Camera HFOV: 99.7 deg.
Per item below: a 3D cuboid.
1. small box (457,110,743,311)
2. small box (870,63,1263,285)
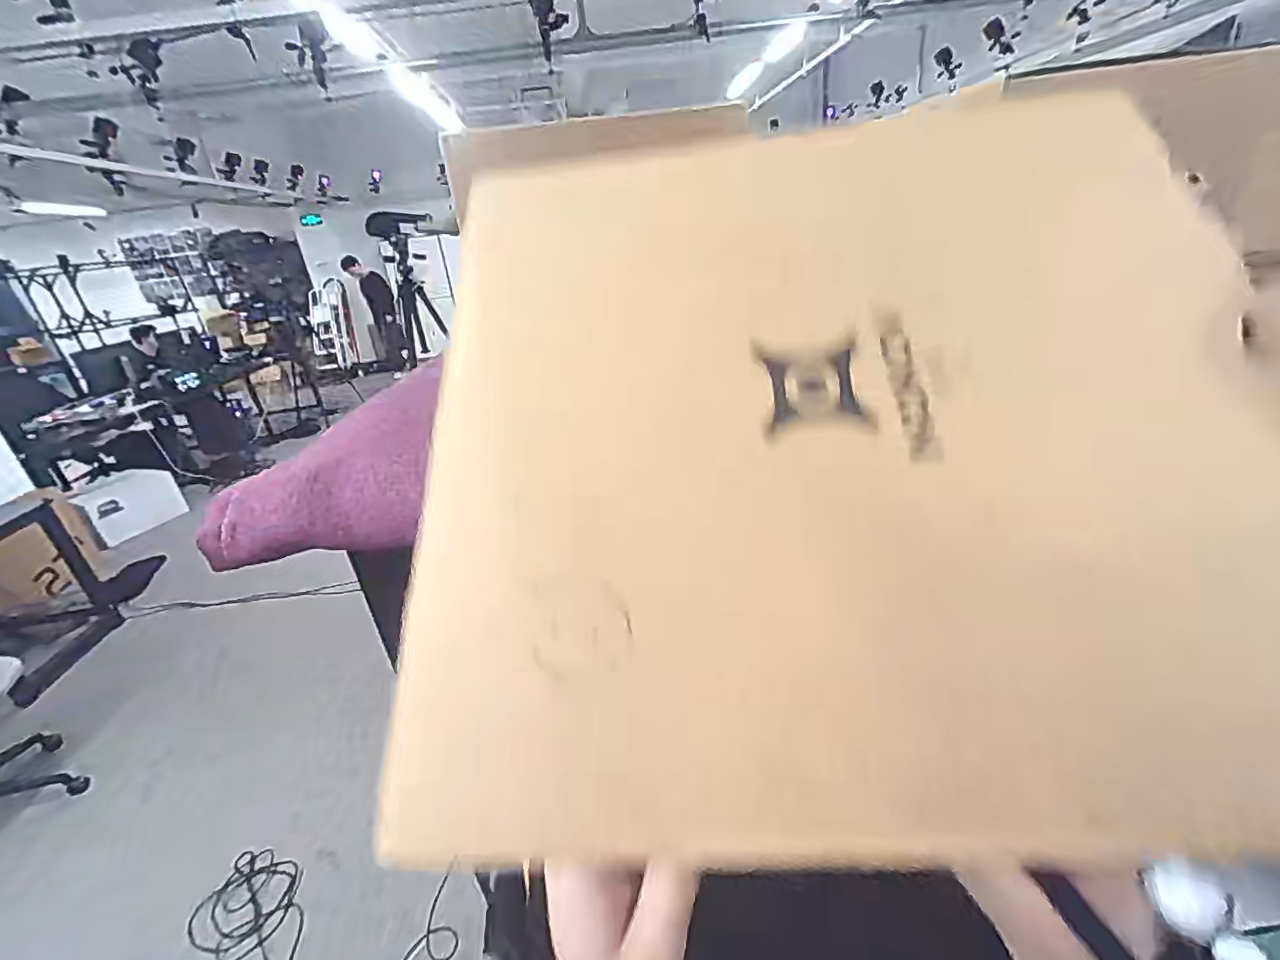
[{"bbox_3d":[-0.021,-0.154,0.406,0.168,0.176,0.179,-7,24,-4],"label":"small box"},{"bbox_3d":[0.296,-0.198,0.429,0.179,0.176,0.168,-9,24,-3],"label":"small box"}]
